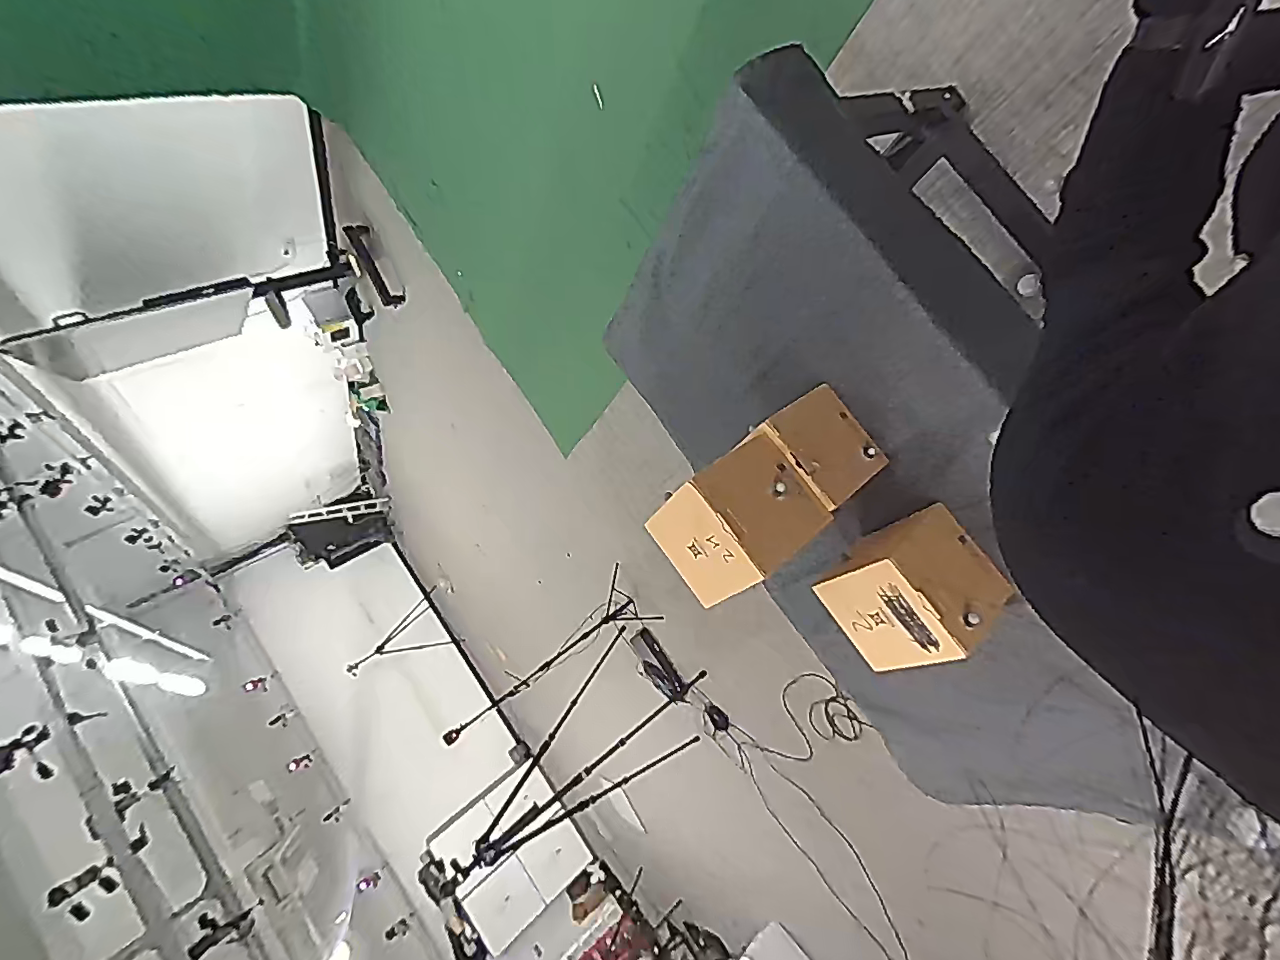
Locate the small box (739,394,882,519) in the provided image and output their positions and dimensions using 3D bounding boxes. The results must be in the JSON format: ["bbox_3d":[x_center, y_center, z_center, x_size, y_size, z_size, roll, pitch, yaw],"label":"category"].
[{"bbox_3d":[0.272,-0.017,0.905,0.168,0.176,0.179,55,148,9],"label":"small box"}]

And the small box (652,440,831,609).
[{"bbox_3d":[0.153,0.068,0.829,0.168,0.176,0.179,53,147,10],"label":"small box"}]
